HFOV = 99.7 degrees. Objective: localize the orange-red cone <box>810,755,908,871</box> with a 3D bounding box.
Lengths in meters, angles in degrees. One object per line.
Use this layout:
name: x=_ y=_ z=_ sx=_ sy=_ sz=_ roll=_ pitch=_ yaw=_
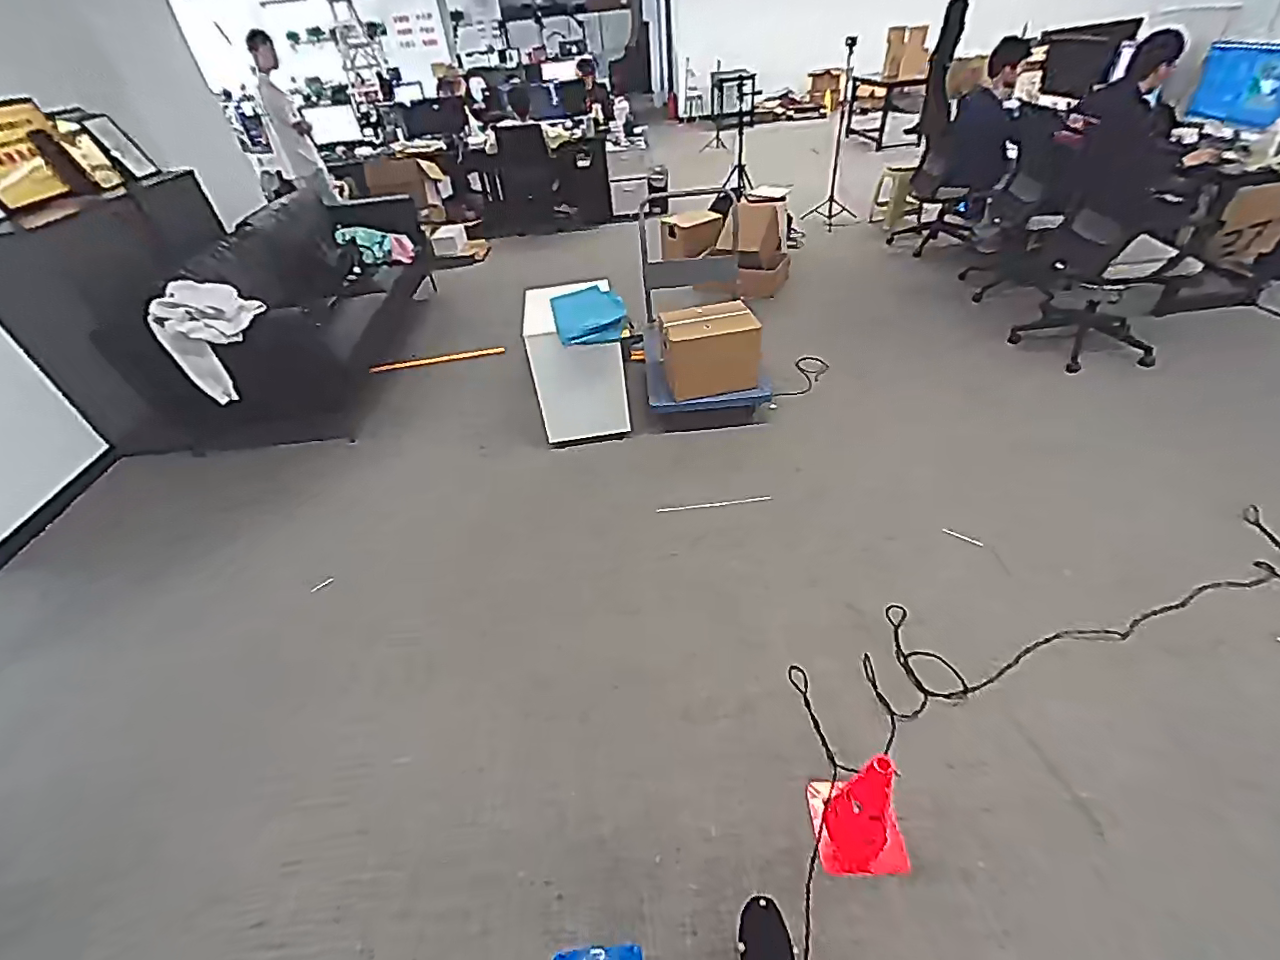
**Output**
orange-red cone: x=0.508 y=0.704 z=1.198 sx=0.198 sy=0.360 sz=0.199 roll=-4 pitch=41 yaw=5
